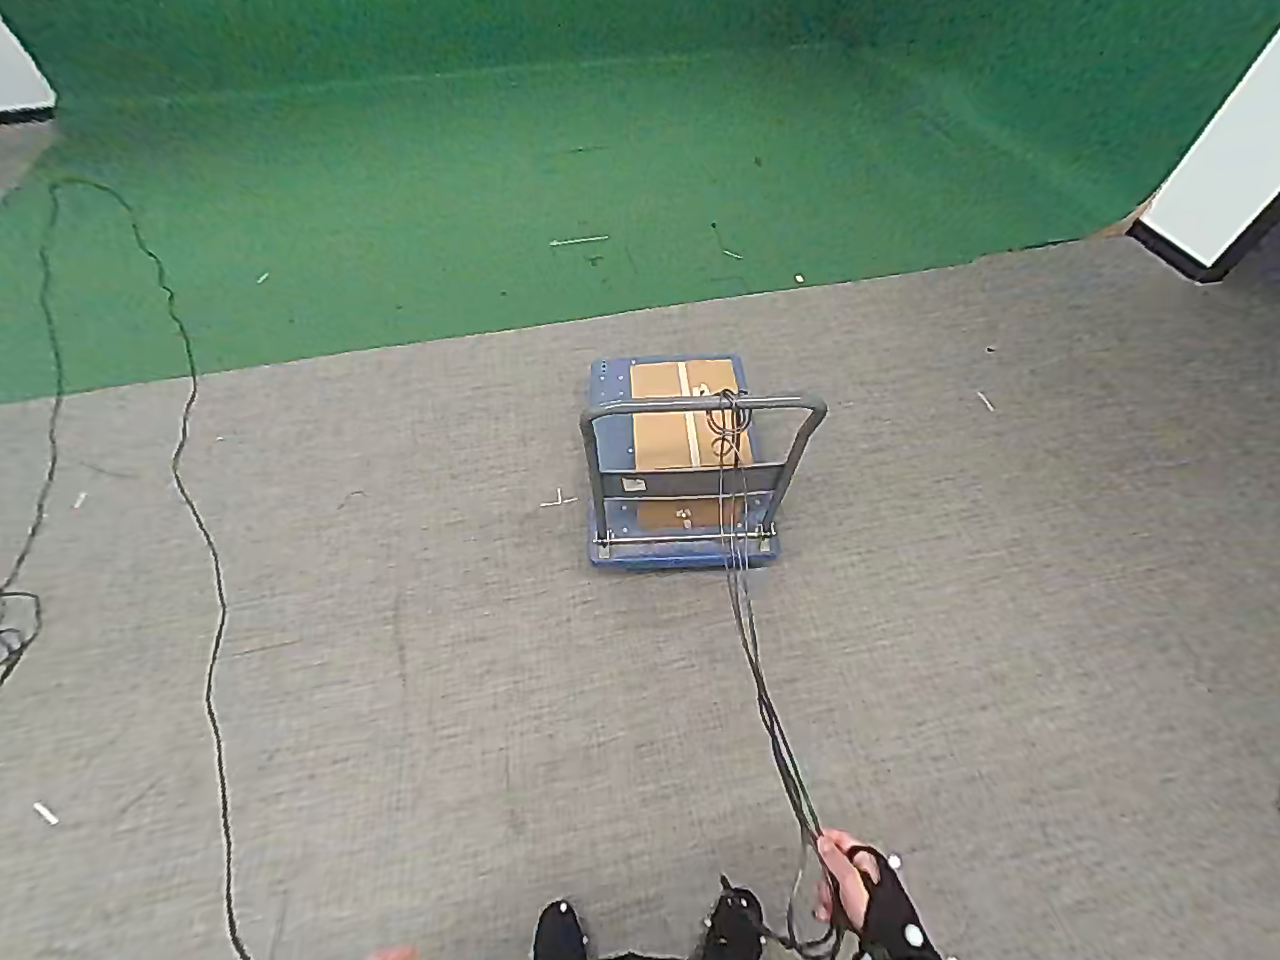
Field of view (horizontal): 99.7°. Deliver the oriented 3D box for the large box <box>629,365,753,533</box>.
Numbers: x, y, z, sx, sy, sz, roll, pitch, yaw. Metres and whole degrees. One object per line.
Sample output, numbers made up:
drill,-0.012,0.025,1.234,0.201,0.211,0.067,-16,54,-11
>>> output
large box,0.136,-0.092,1.645,0.320,0.320,0.408,-3,53,-1
